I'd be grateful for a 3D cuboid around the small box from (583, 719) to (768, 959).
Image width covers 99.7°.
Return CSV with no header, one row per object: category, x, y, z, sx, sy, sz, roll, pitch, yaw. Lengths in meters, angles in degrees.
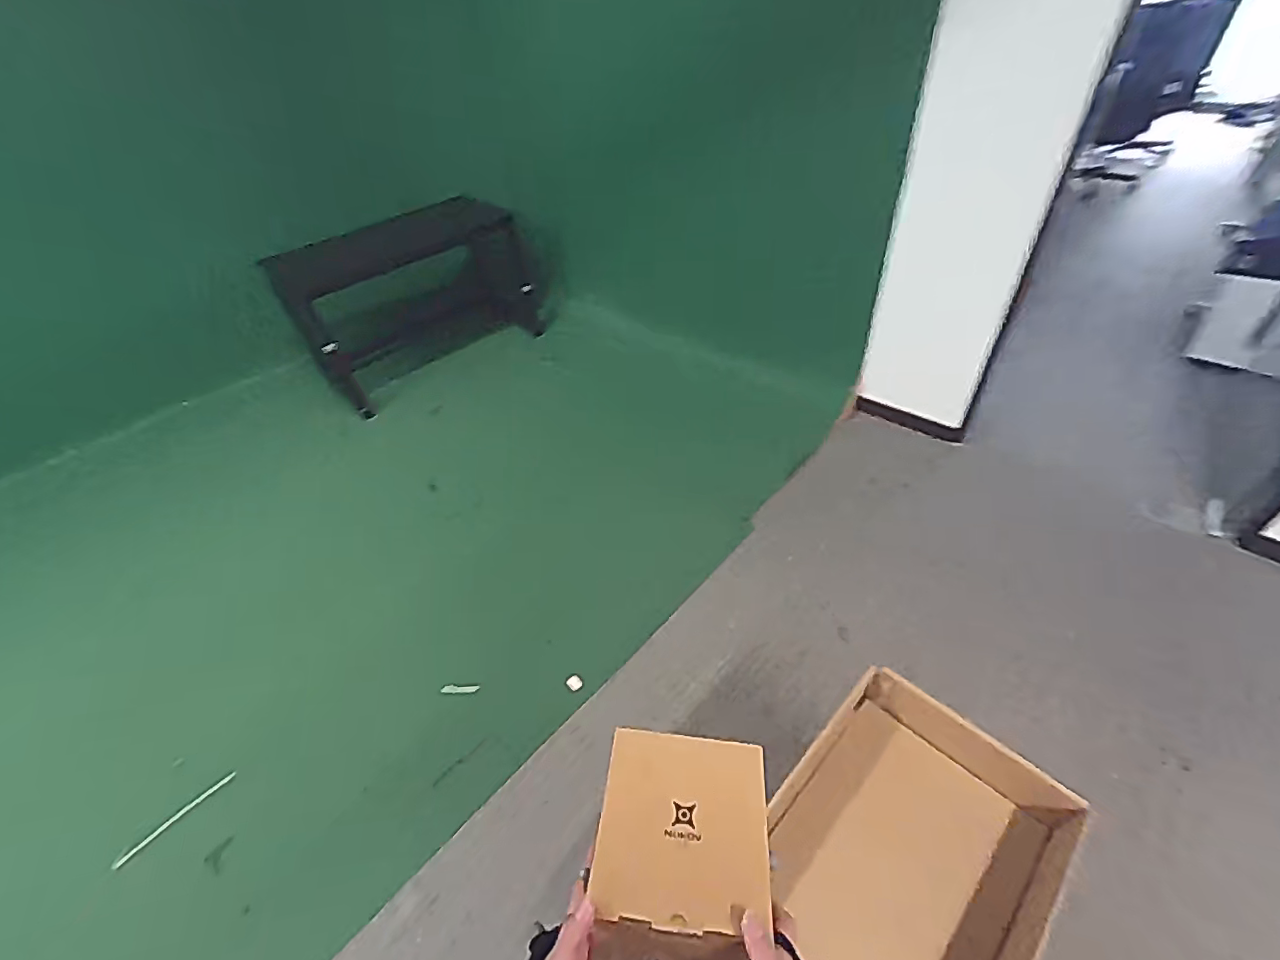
small box,0.037,0.391,0.582,0.168,0.176,0.179,5,37,5
